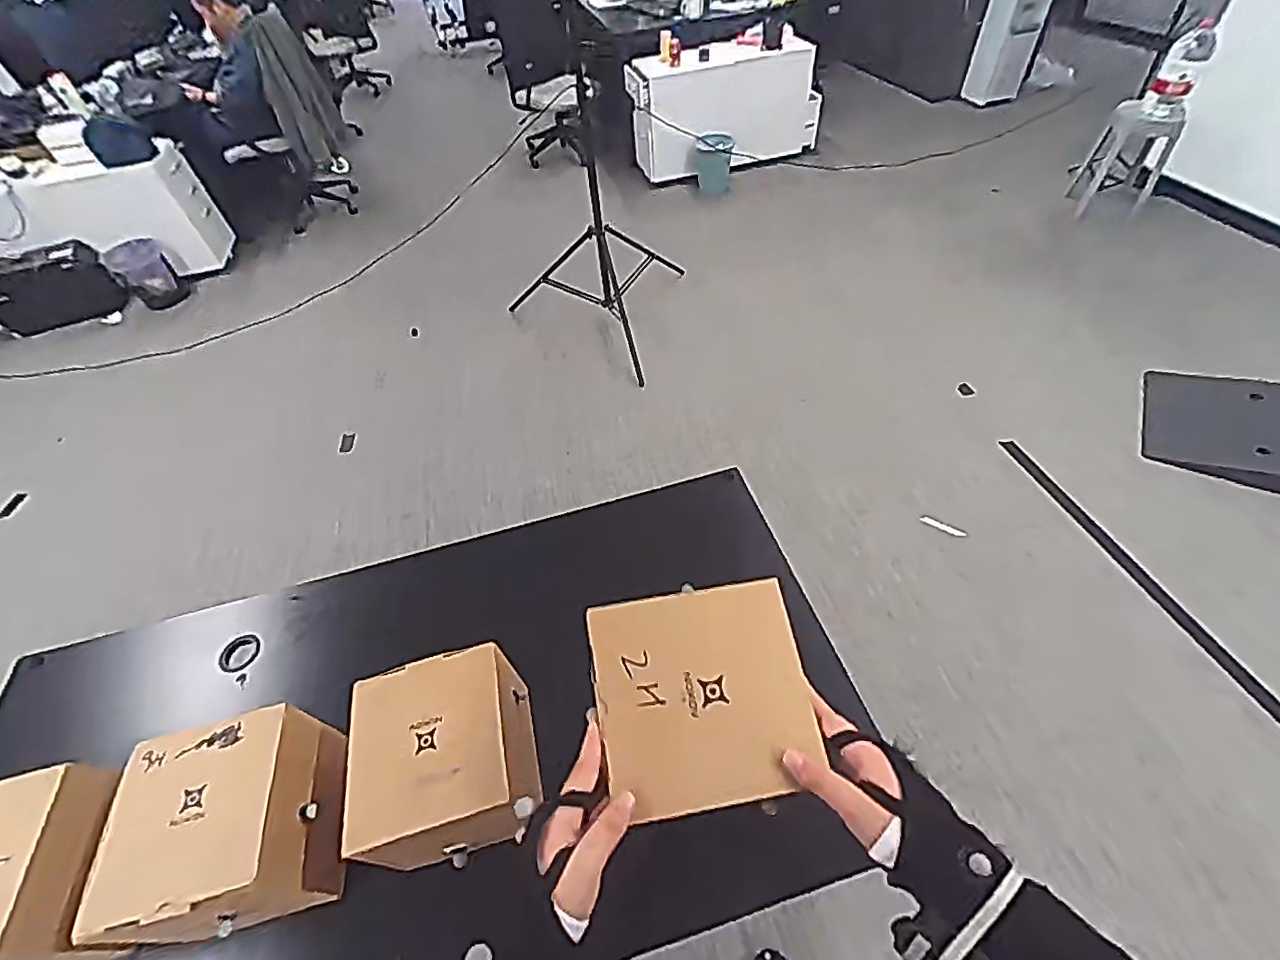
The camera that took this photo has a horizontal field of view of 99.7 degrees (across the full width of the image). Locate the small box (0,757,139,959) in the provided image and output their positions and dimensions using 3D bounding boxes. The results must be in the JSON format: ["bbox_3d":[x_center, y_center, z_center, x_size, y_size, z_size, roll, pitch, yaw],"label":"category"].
[{"bbox_3d":[-0.673,0.436,0.597,0.179,0.176,0.168,-14,51,-7],"label":"small box"}]

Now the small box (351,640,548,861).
[{"bbox_3d":[-0.218,0.325,0.647,0.168,0.176,0.179,-16,52,-6],"label":"small box"}]

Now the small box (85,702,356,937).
[{"bbox_3d":[-0.447,0.385,0.617,0.168,0.176,0.179,-14,51,-7],"label":"small box"}]
